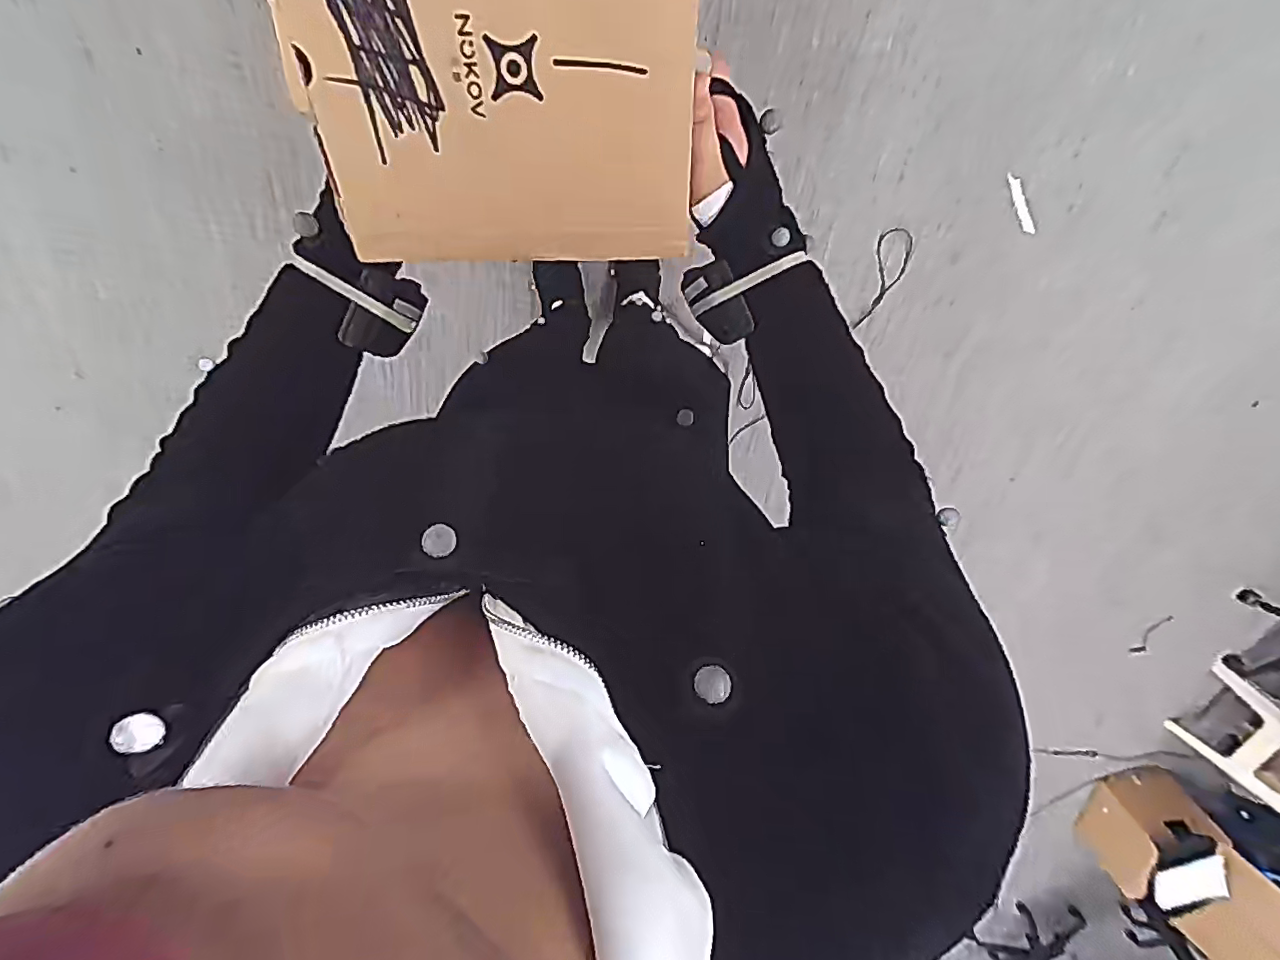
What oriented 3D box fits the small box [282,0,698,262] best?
[{"bbox_3d":[-0.062,-0.232,0.299,0.179,0.176,0.168,0,131,0],"label":"small box"}]
